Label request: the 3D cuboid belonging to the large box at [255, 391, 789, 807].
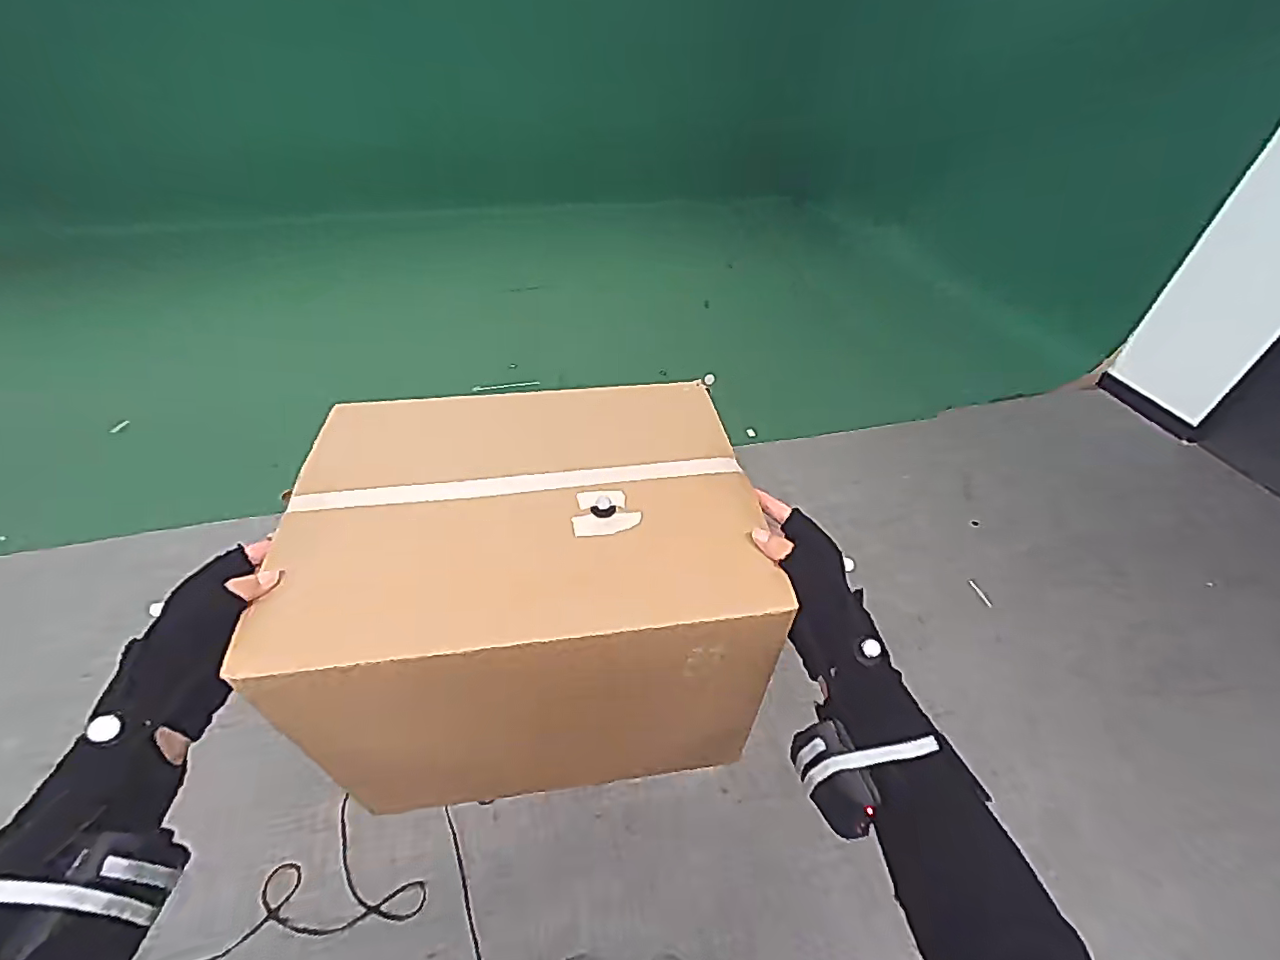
[{"bbox_3d":[-0.105,0.121,0.608,0.408,0.320,0.320,-4,44,-8],"label":"large box"}]
